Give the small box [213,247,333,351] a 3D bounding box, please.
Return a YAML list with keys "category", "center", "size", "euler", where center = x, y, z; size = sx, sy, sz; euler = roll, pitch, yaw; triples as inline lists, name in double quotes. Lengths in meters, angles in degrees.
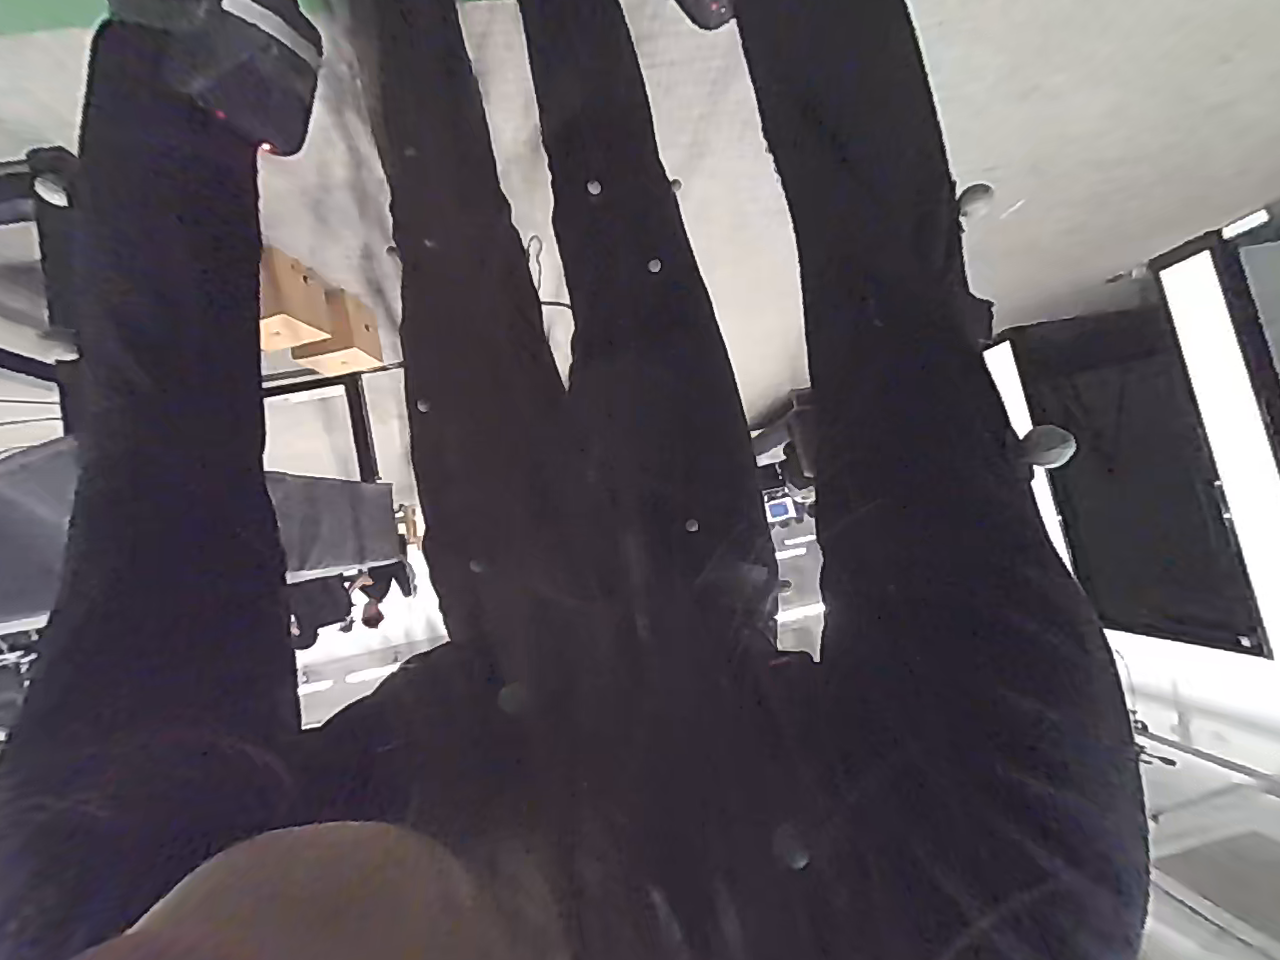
- category: "small box"
  center: [-0.875, -0.428, 1.292]
  size: [0.179, 0.176, 0.168]
  euler: [-12, 177, 5]
